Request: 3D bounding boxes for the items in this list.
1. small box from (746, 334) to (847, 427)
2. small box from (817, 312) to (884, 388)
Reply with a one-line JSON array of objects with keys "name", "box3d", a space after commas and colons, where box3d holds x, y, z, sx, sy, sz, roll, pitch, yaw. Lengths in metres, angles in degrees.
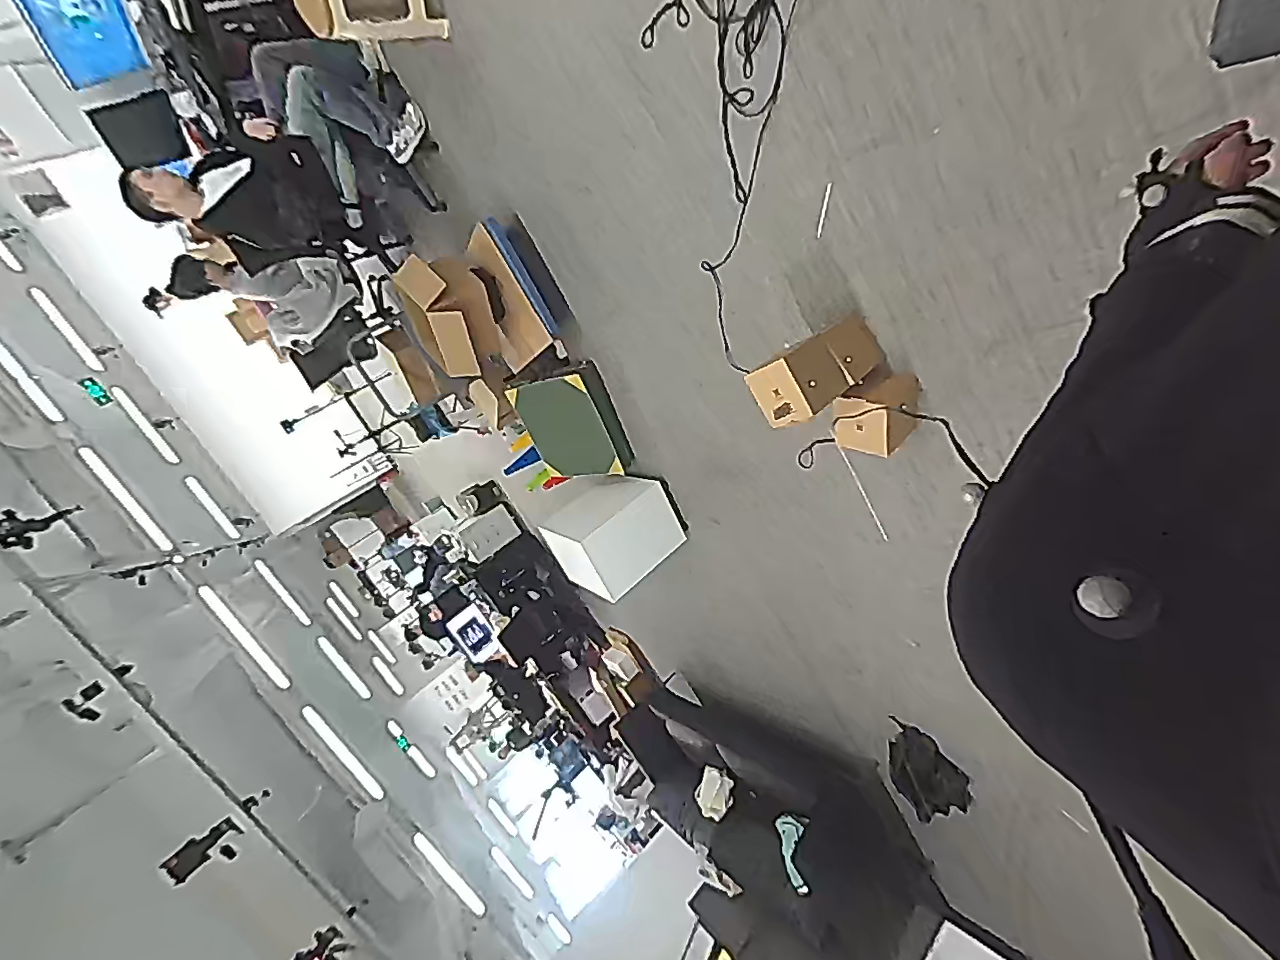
[{"name": "small box", "box3d": [0.436, -0.273, 1.496, 0.179, 0.176, 0.168, 58, 153, -8]}, {"name": "small box", "box3d": [0.562, -0.353, 1.564, 0.168, 0.176, 0.179, 56, 154, -4]}]
